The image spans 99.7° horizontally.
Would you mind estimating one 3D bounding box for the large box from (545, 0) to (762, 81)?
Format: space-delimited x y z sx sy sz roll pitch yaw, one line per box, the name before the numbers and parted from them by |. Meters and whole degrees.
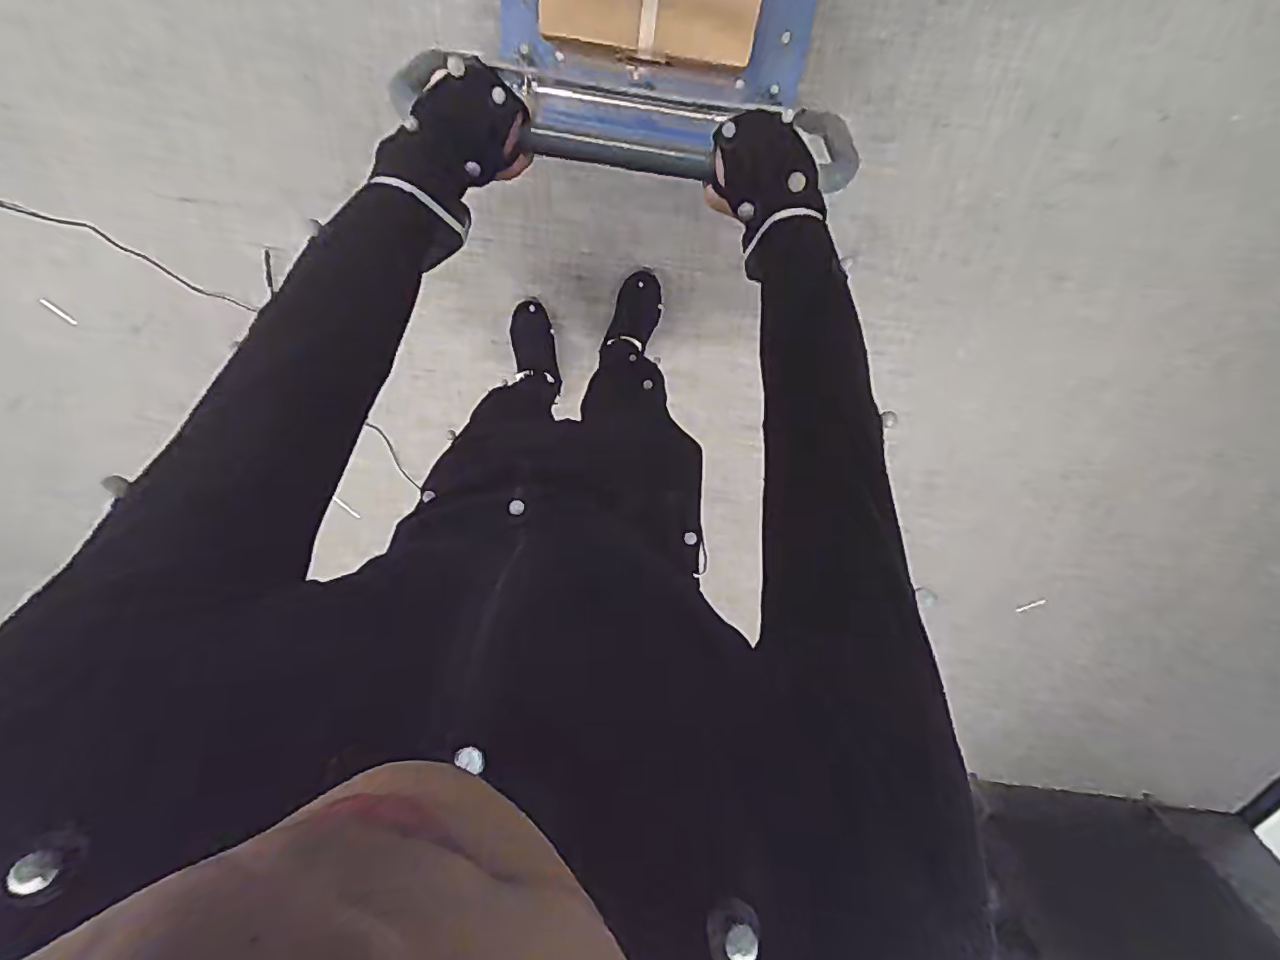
large box | 0.043 -0.890 0.829 0.320 0.320 0.408 8 121 -2
